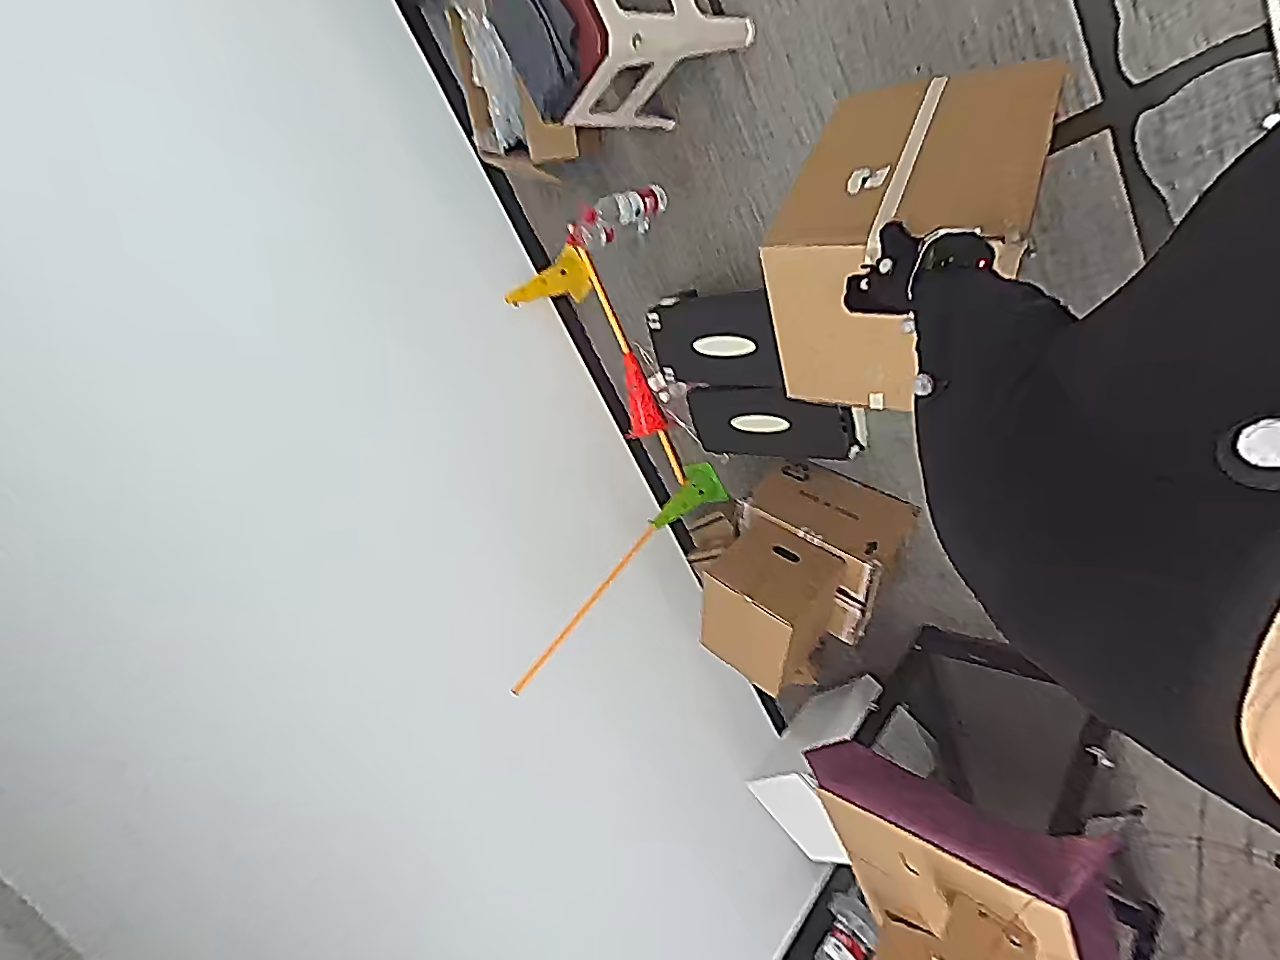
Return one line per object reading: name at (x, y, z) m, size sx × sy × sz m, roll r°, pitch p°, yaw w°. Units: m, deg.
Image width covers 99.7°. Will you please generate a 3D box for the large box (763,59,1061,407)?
large box at (0.433, -0.385, 0.880) m, size 0.320 × 0.408 × 0.320 m, roll 14°, pitch 155°, yaw 31°
